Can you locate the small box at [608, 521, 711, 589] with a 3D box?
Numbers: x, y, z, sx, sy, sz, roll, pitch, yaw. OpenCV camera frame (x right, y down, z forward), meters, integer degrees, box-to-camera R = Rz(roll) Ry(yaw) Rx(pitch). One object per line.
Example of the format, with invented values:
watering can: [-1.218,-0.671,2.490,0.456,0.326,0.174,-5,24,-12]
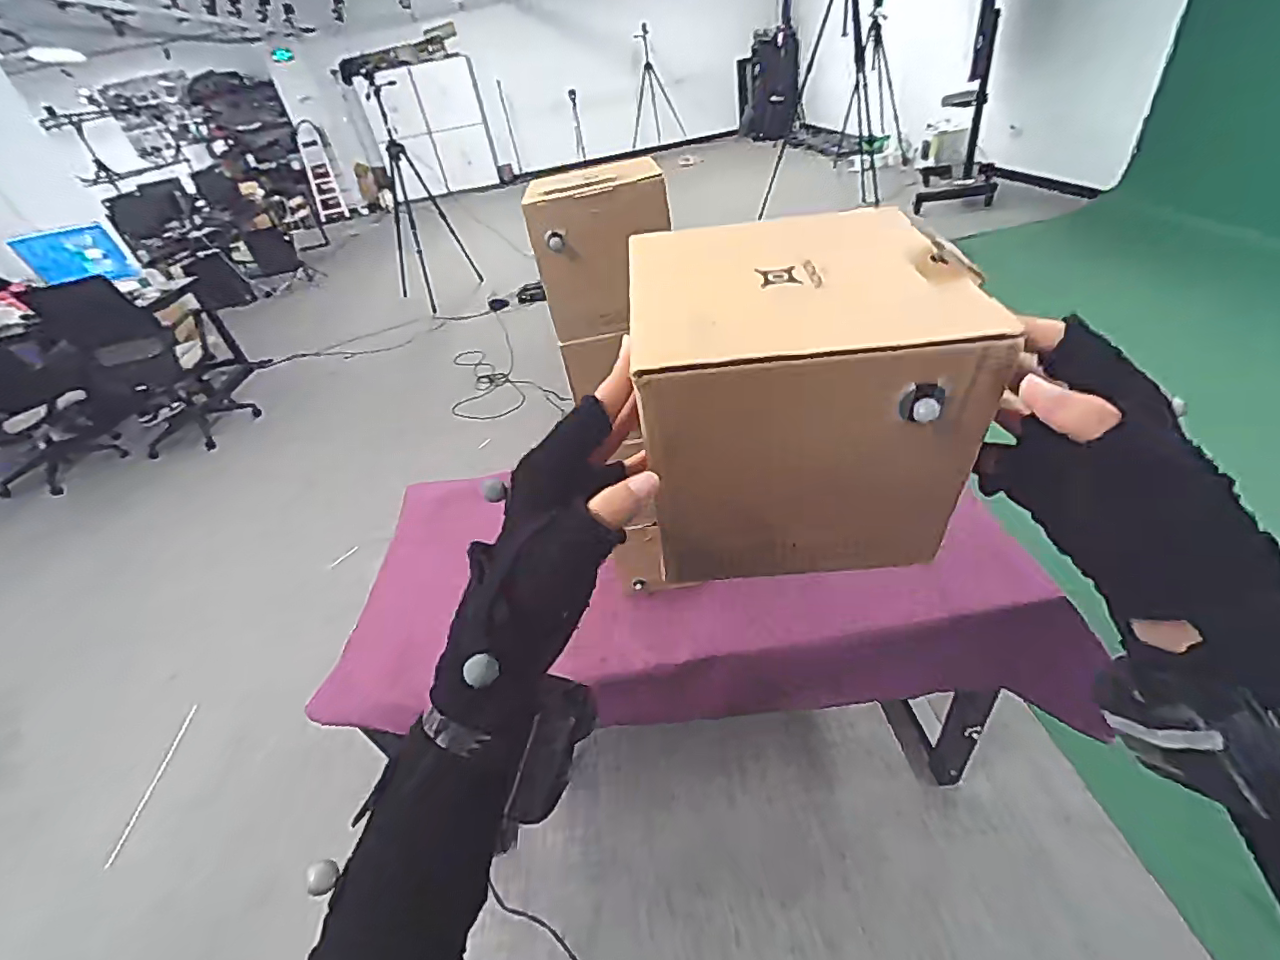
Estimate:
small box: [0.035,0.087,1.012,0.168,0.176,0.179,-9,37,3]

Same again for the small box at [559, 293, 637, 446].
small box: [-0.019,-0.174,0.822,0.168,0.176,0.179,-10,38,3]

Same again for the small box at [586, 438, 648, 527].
small box: [0.007,-0.045,0.918,0.168,0.176,0.179,-10,38,3]

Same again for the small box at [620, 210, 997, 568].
small box: [0.085,-0.056,0.360,0.179,0.176,0.168,-5,44,3]
